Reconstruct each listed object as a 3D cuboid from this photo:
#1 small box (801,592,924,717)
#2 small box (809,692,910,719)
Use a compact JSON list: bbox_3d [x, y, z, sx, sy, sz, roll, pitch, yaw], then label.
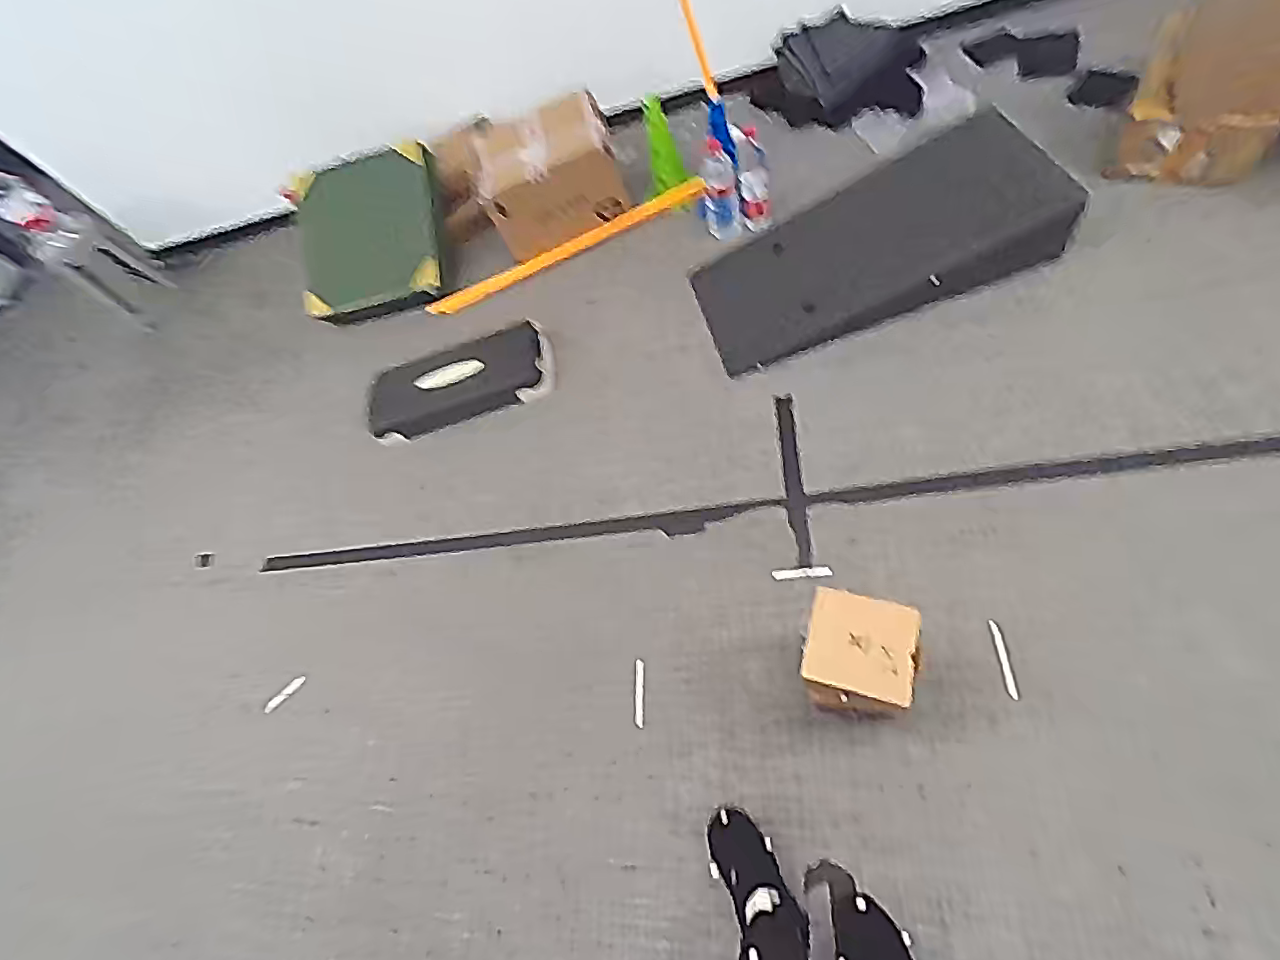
[{"bbox_3d":[0.404,0.324,0.995,0.179,0.176,0.168,11,68,22],"label":"small box"},{"bbox_3d":[0.449,0.401,1.134,0.179,0.176,0.168,-1,63,16],"label":"small box"}]
